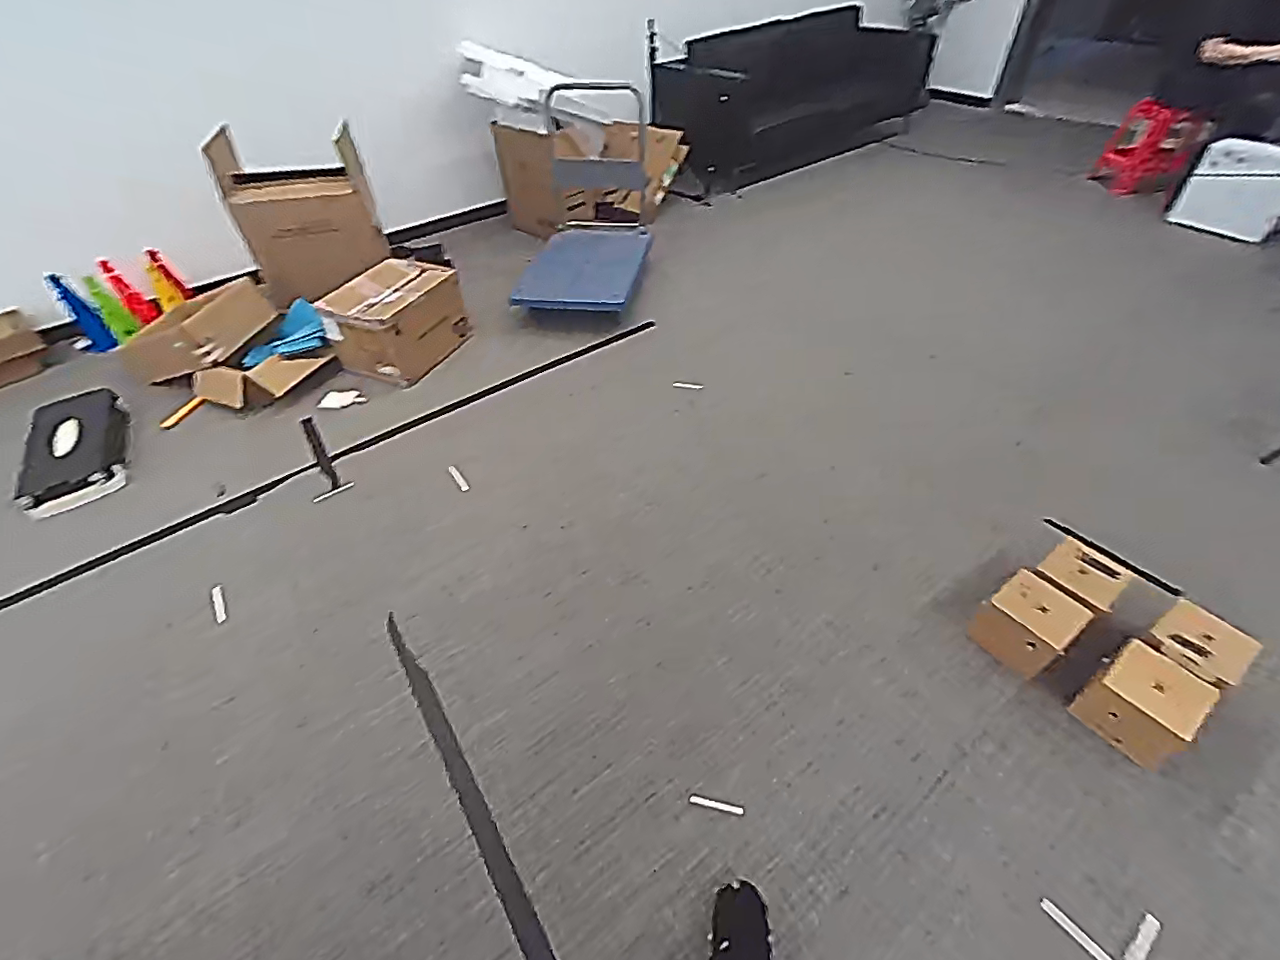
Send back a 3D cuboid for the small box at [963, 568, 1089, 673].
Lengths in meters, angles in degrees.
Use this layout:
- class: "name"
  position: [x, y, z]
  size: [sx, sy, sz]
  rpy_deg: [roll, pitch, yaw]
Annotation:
- class: "small box"
  position: [0.983, 0.370, 1.391]
  size: [0.168, 0.176, 0.179]
  rpy_deg: [-29, 50, -23]
